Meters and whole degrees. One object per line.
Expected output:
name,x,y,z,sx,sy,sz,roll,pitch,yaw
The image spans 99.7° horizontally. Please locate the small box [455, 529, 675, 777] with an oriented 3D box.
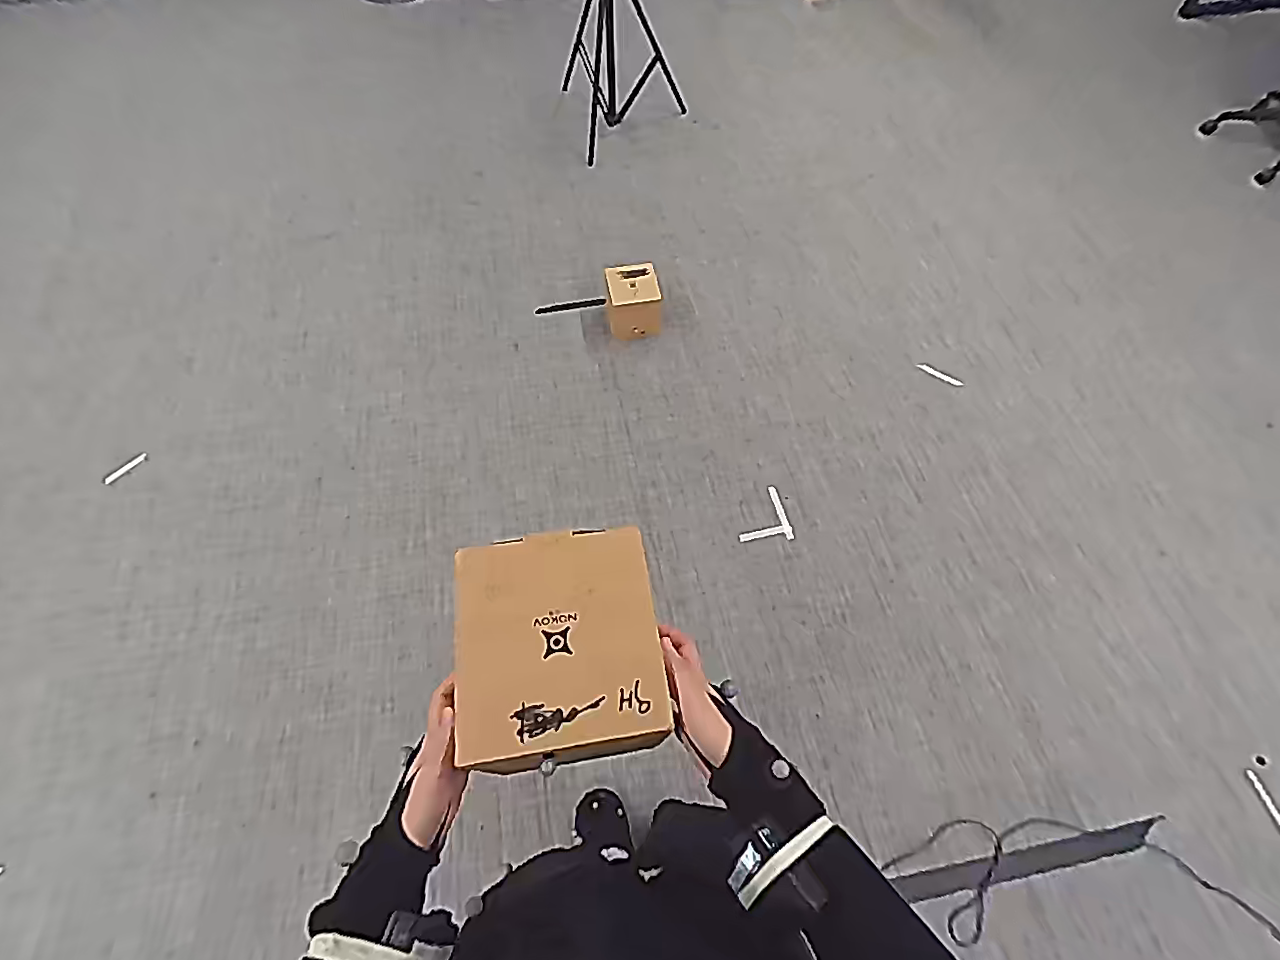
small box,-0.070,0.167,0.510,0.168,0.176,0.179,-7,60,-7
